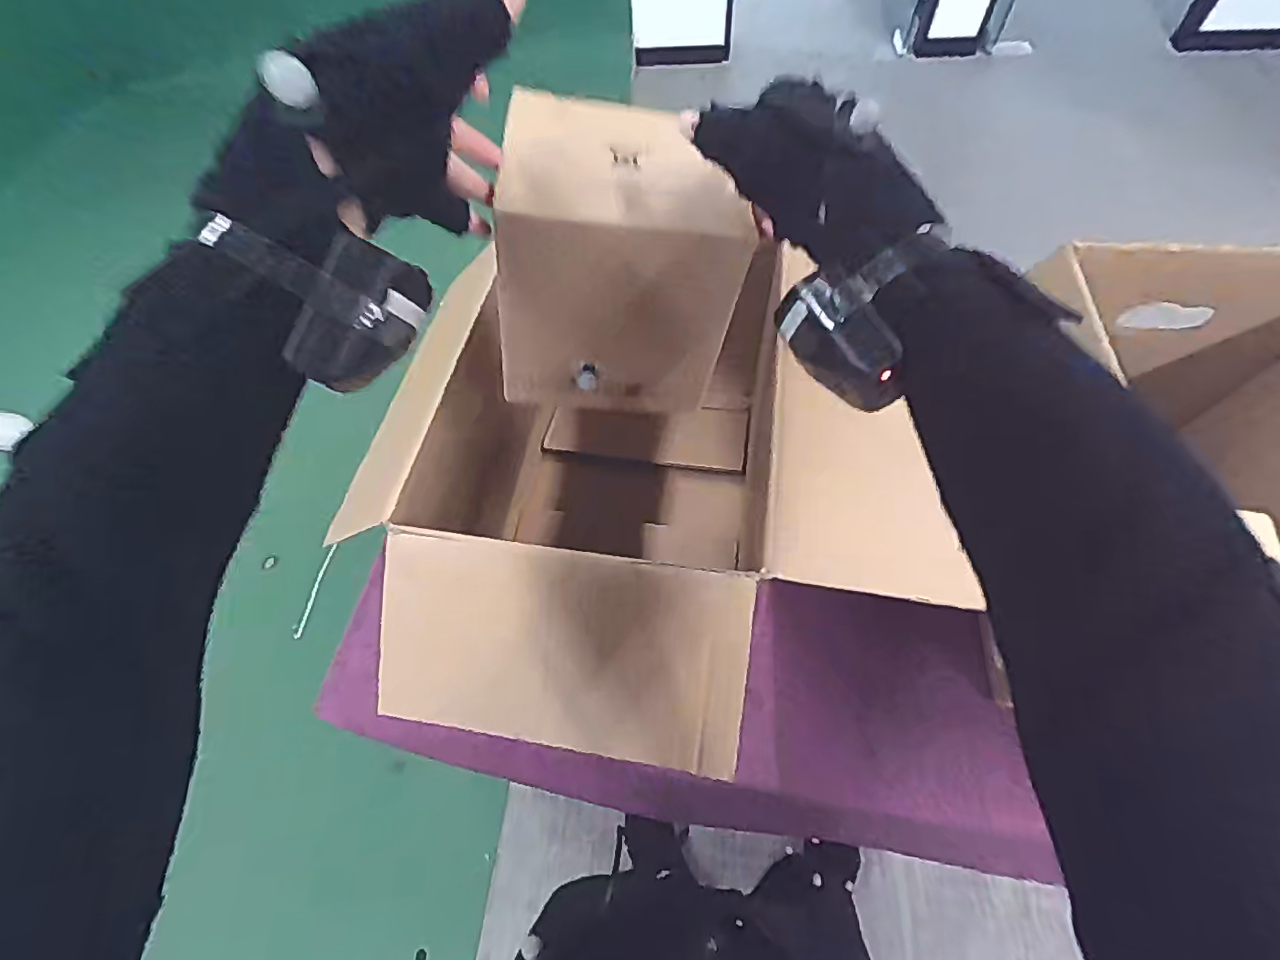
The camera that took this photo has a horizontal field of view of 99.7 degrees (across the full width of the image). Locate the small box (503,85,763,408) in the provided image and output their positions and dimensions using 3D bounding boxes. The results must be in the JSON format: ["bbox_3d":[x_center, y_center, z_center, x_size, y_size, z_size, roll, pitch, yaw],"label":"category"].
[{"bbox_3d":[-0.018,-0.183,0.444,0.168,0.176,0.179,2,54,-8],"label":"small box"}]
